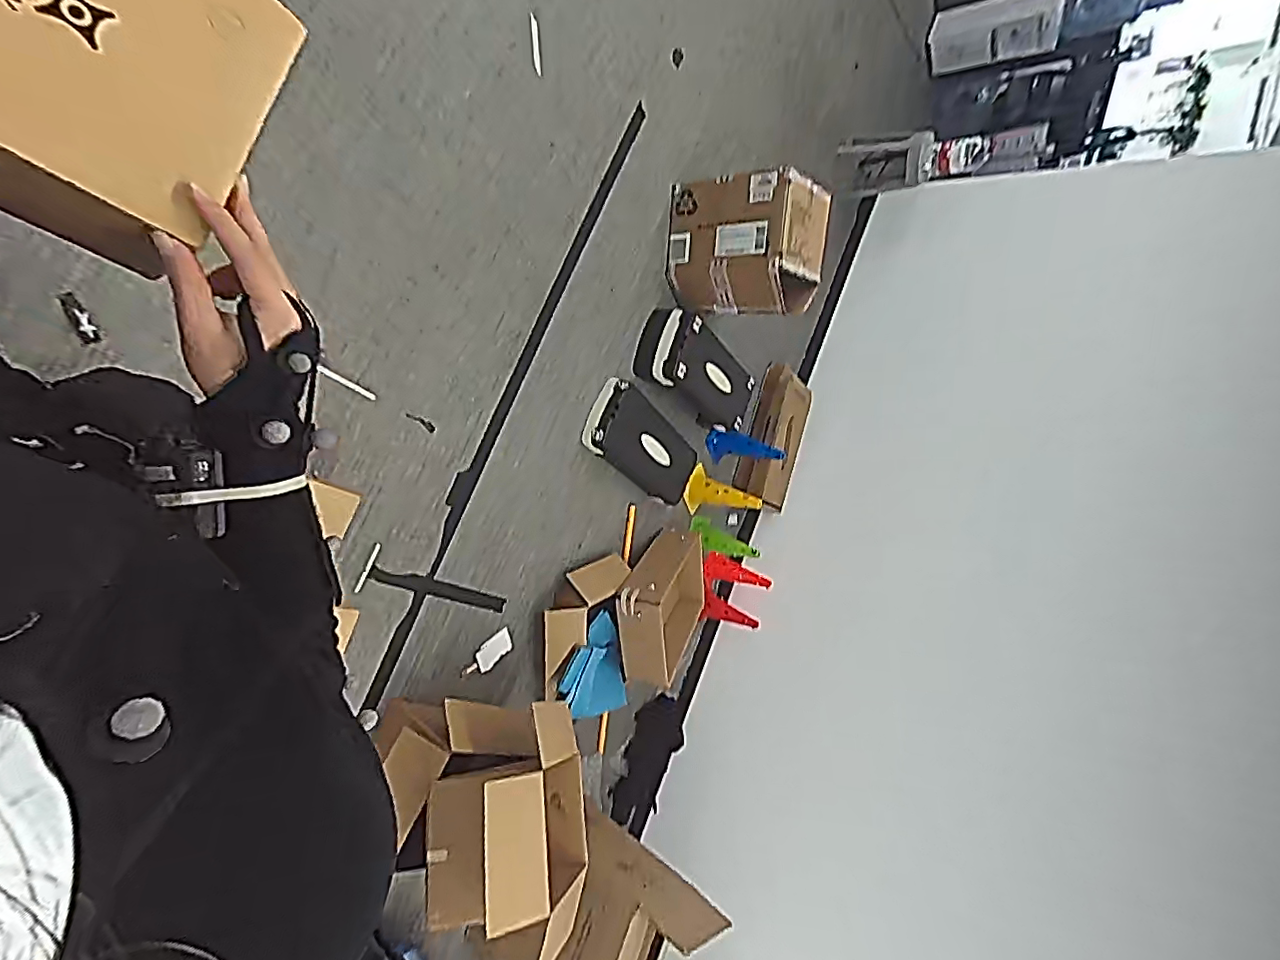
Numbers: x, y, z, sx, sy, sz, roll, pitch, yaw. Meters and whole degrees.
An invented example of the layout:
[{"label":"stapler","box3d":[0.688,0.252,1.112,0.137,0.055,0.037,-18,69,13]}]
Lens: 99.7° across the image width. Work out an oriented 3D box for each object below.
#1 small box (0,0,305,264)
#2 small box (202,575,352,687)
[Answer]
[{"label":"small box","box3d":[-0.351,-0.251,0.326,0.179,0.176,0.168,27,77,-48]},{"label":"small box","box3d":[-0.727,0.299,1.082,0.179,0.176,0.168,27,81,-54]}]
